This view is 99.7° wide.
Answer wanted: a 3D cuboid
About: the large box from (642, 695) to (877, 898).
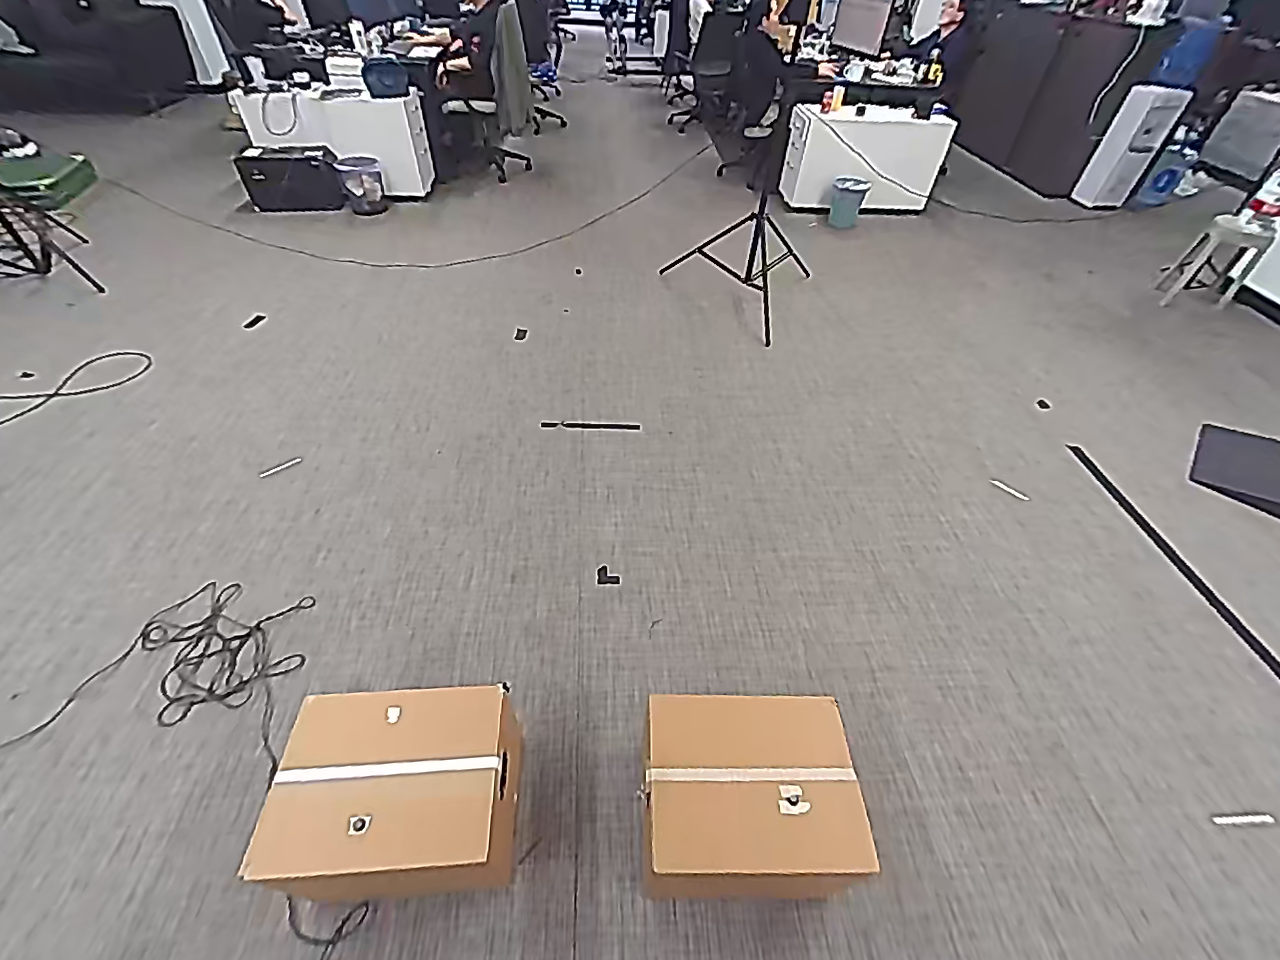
[{"bbox_3d":[0.216,0.678,1.161,0.408,0.320,0.320,2,46,-3],"label":"large box"}]
